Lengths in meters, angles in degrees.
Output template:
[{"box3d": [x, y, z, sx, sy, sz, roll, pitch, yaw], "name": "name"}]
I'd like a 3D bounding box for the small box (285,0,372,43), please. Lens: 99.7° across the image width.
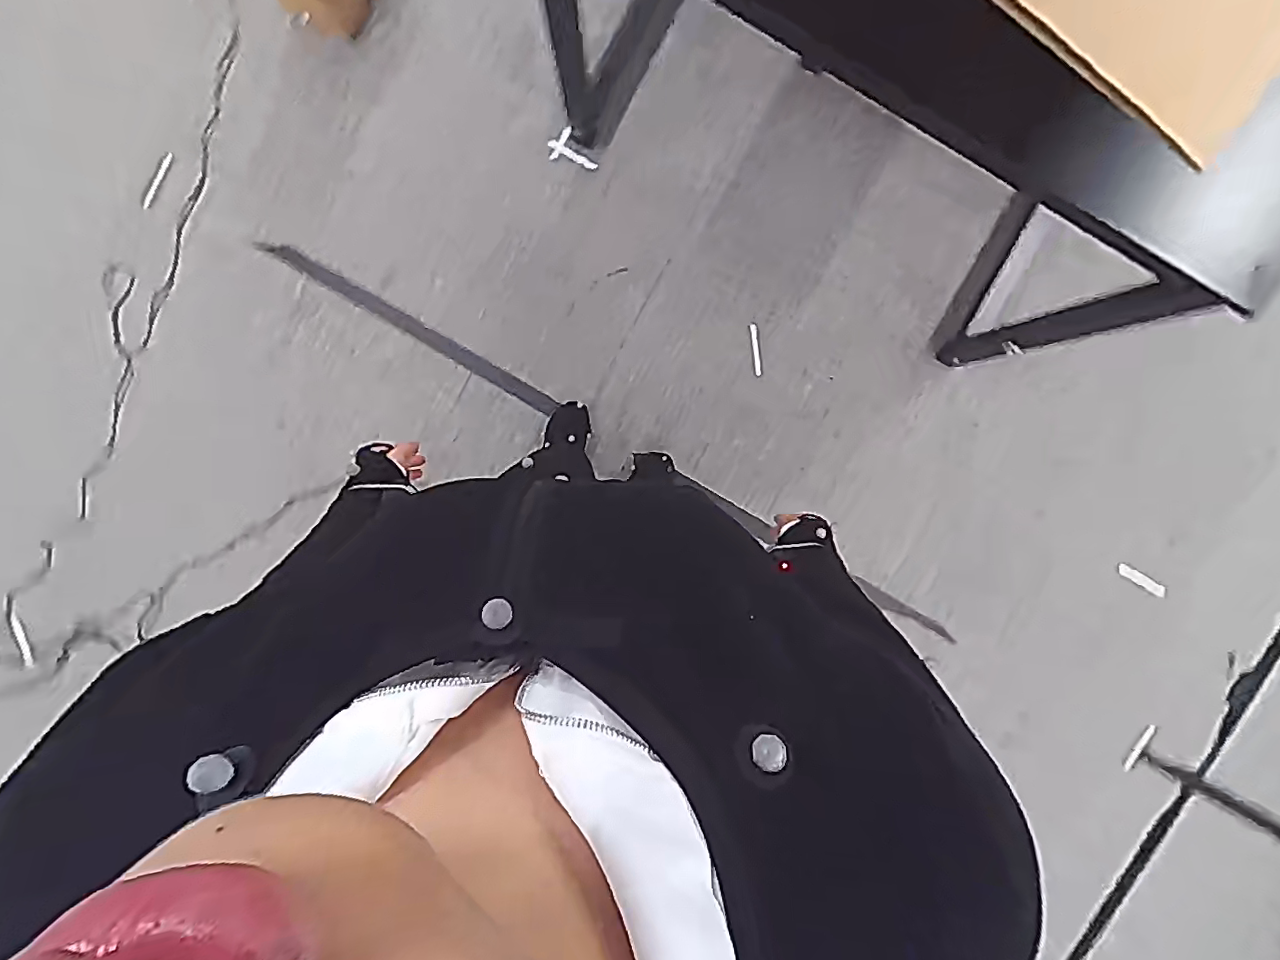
[{"box3d": [-0.770, -1.219, 1.296, 0.168, 0.176, 0.179, 26, 94, -3], "name": "small box"}]
